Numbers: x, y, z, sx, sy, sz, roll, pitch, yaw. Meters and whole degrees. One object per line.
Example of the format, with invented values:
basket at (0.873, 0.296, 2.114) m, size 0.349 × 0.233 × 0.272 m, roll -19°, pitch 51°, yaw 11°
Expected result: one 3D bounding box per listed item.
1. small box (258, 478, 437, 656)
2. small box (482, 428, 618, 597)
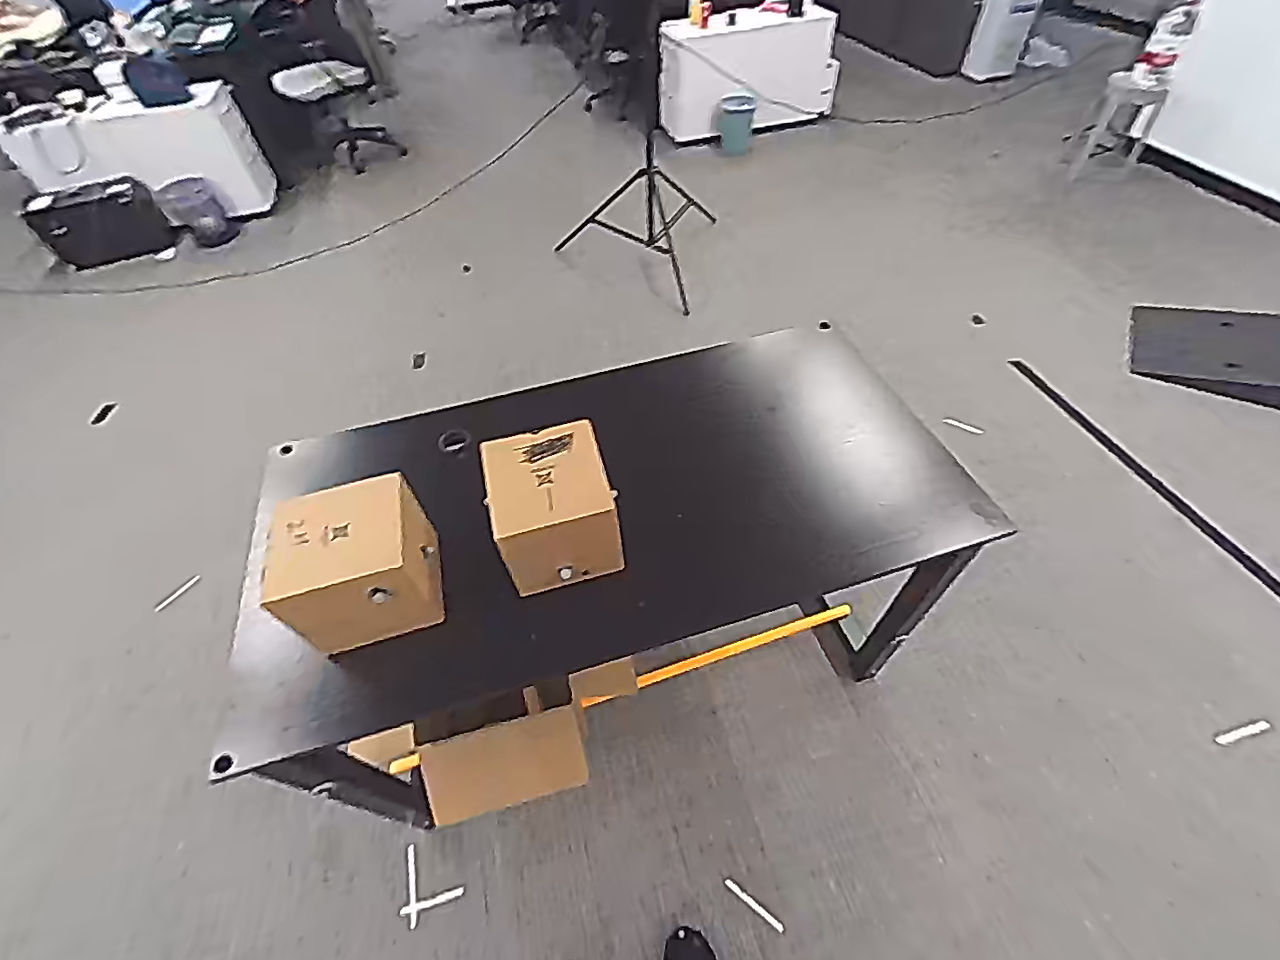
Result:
small box at (-0.406, 0.128, 0.784) m, size 0.179 × 0.176 × 0.168 m, roll -15°, pitch 51°, yaw -9°
small box at (-0.135, 0.051, 0.834) m, size 0.168 × 0.176 × 0.179 m, roll -14°, pitch 52°, yaw -8°
